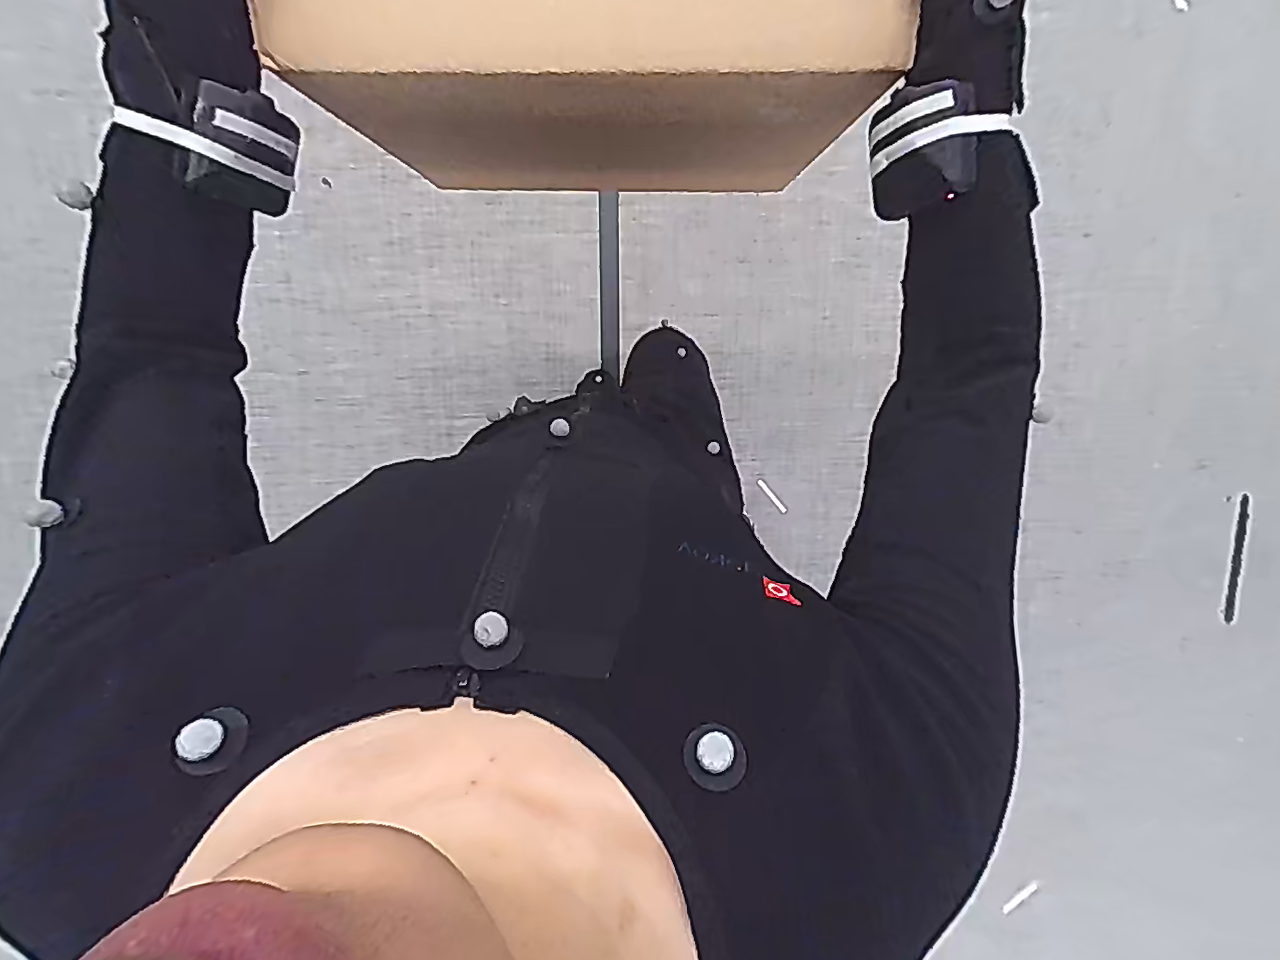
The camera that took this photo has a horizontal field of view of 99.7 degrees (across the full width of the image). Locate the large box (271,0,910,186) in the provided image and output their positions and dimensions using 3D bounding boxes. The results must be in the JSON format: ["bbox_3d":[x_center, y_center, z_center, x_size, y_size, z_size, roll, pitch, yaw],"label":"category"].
[{"bbox_3d":[-0.034,-0.455,0.447,0.408,0.320,0.320,0,106,0],"label":"large box"}]
